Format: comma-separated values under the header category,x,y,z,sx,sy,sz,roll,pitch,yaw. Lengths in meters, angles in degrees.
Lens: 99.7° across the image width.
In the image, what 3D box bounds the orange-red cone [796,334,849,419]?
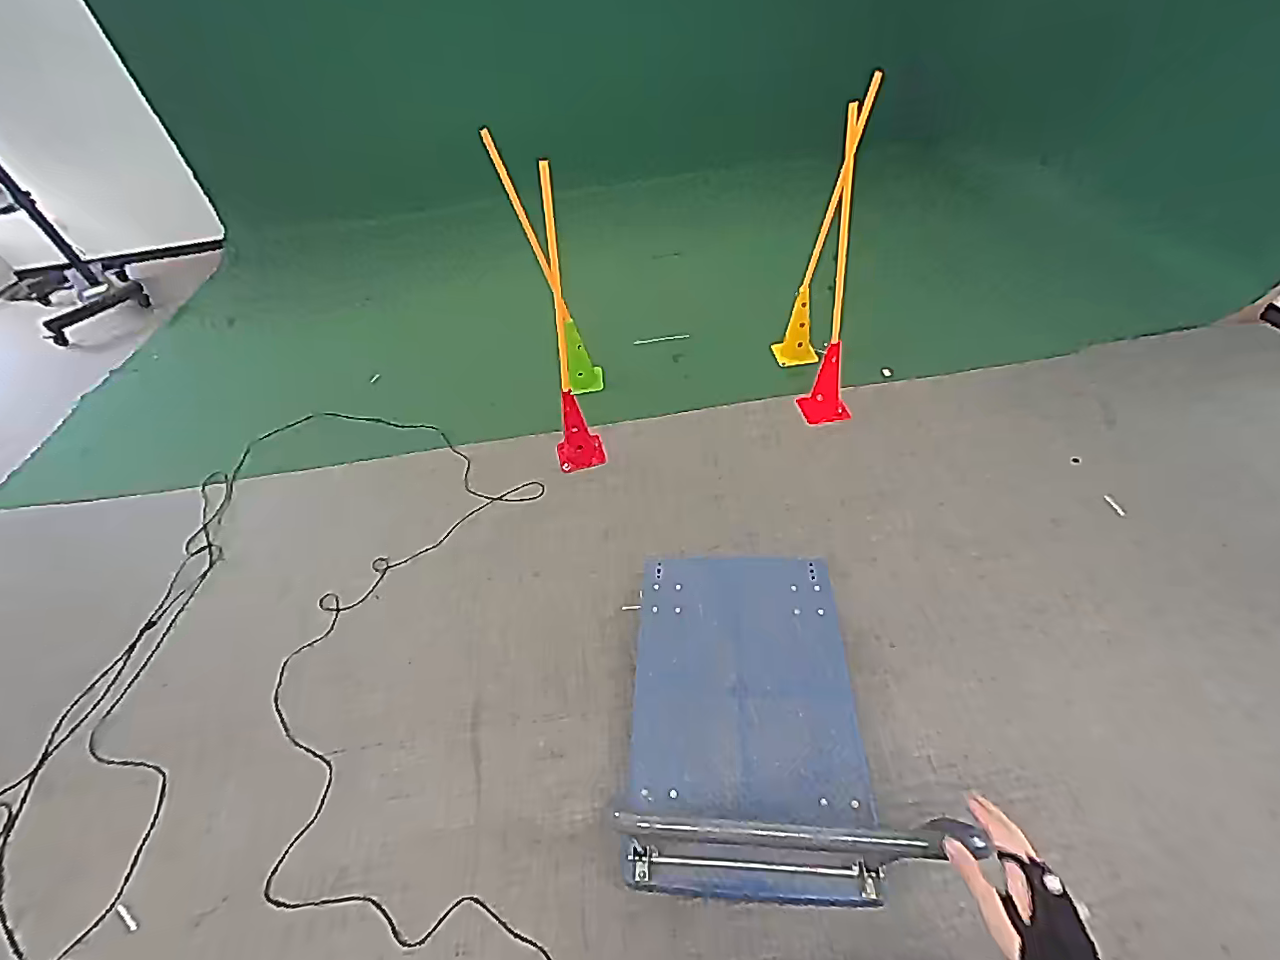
category,x,y,z,sx,sy,sz,roll,pitch,yaw
orange-red cone,0.812,-0.465,2.334,0.198,0.360,0.199,-8,45,-1

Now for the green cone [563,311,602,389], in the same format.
category,x,y,z,sx,sy,sz,roll,pitch,yaw
green cone,-0.316,-0.656,2.659,0.200,0.368,0.202,-9,45,0
